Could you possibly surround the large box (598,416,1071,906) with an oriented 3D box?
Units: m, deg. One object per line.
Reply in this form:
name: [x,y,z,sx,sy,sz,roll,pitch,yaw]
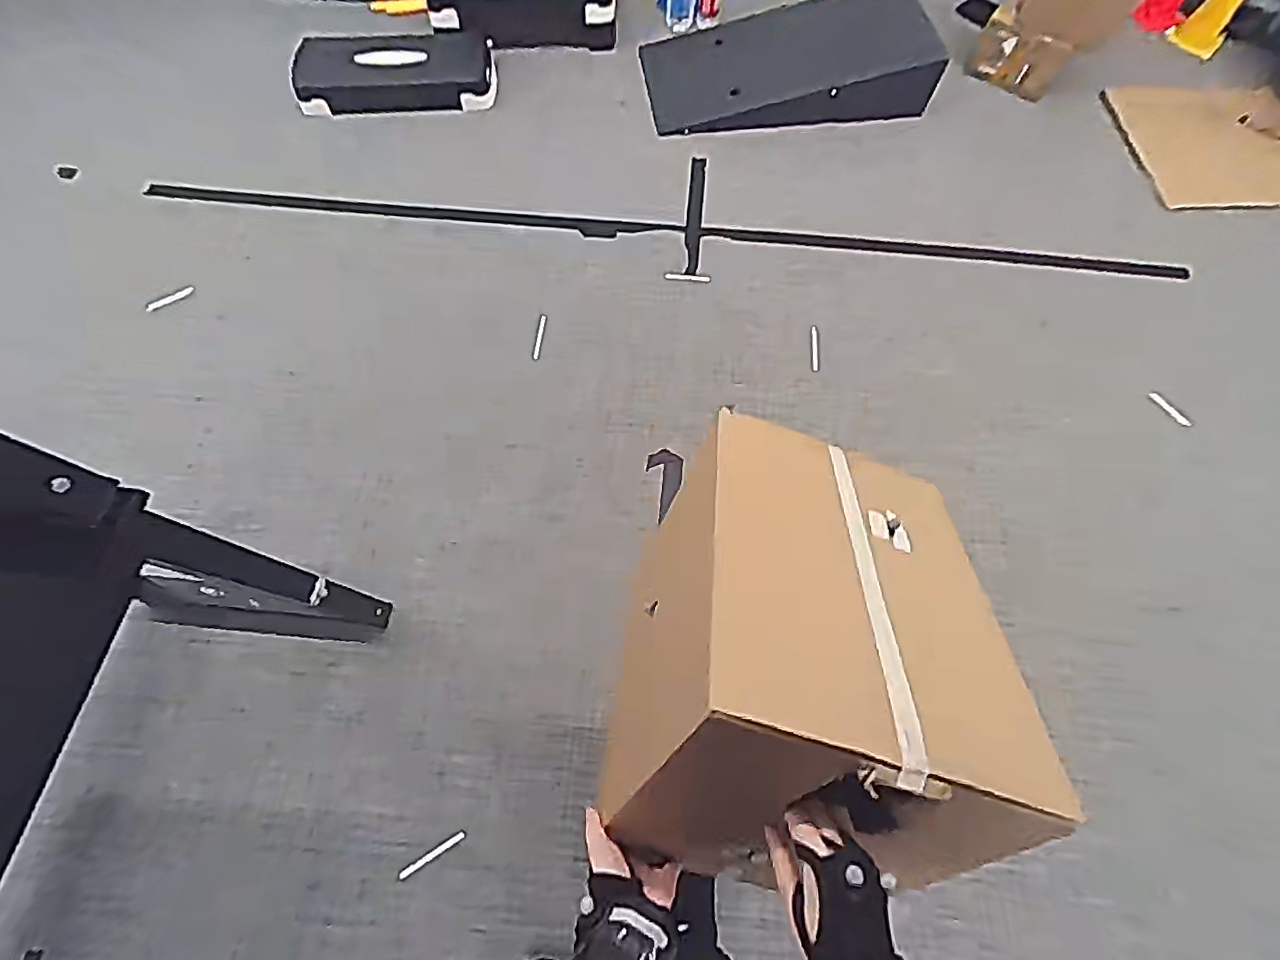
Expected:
large box: [0.161,0.195,0.636,0.320,0.320,0.408,20,38,-6]
